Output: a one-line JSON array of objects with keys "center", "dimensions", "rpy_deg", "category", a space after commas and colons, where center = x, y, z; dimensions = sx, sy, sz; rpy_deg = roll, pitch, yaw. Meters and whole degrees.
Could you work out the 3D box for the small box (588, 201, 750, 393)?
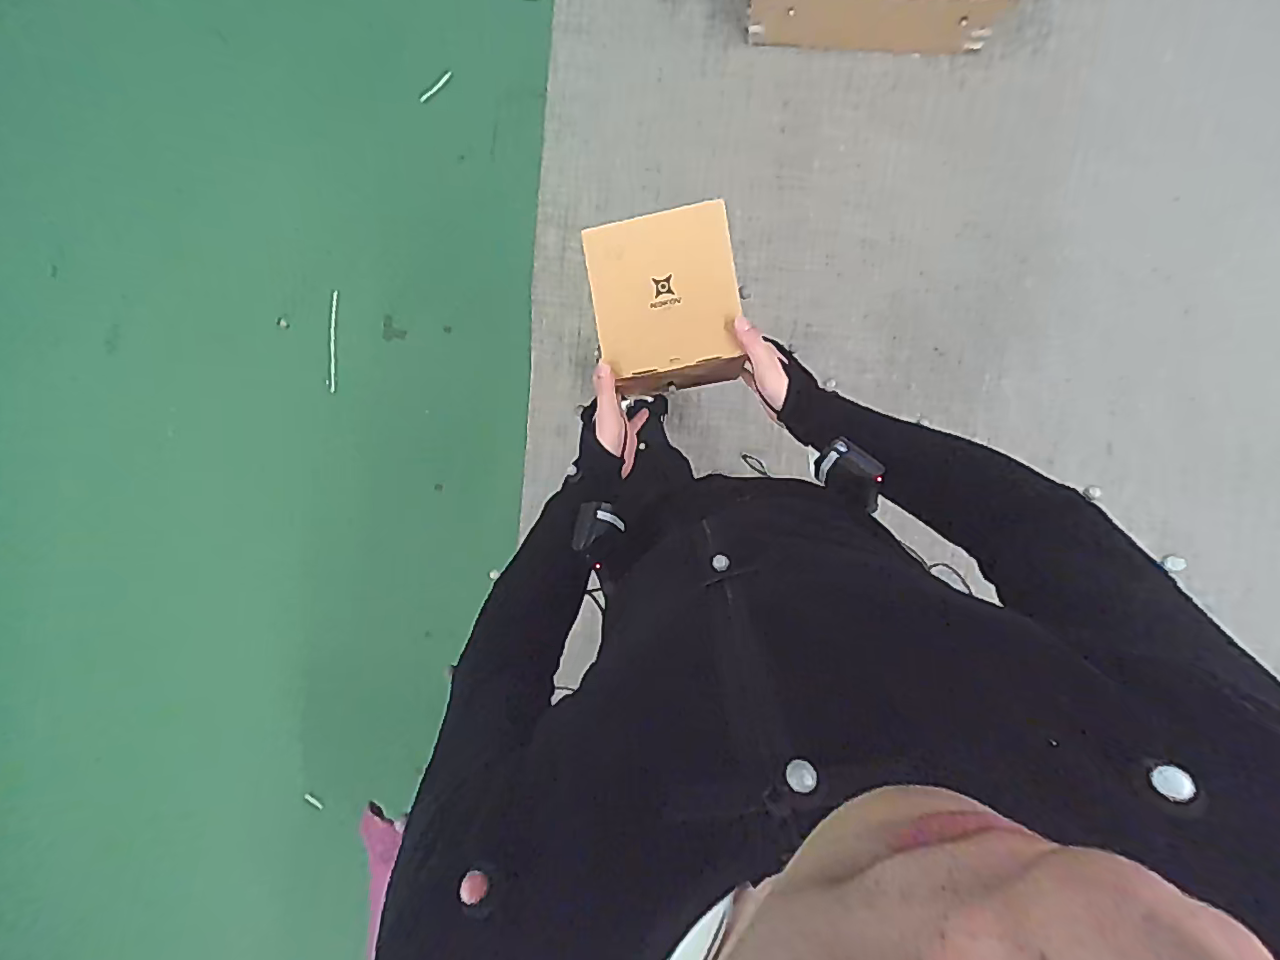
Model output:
[{"center": [0.038, -0.216, 0.686], "dimensions": [0.168, 0.176, 0.179], "rpy_deg": [-8, 92, 6], "category": "small box"}]
